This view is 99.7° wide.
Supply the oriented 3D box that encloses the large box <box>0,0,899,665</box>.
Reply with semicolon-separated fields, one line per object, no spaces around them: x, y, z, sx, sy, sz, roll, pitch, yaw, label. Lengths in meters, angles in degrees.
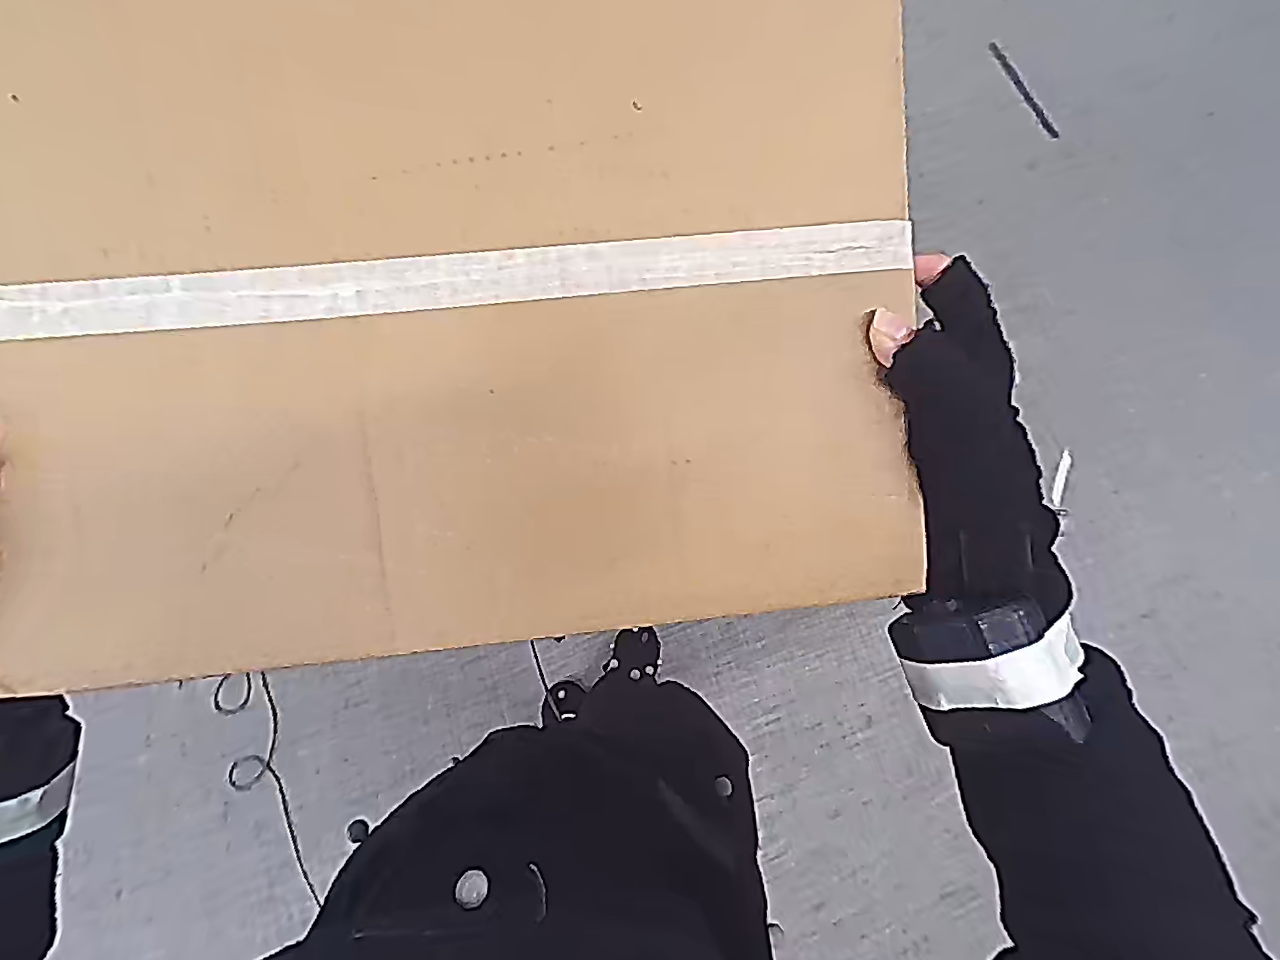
-0.089;-0.100;0.387;0.408;0.320;0.320;-4;95;-4;large box
